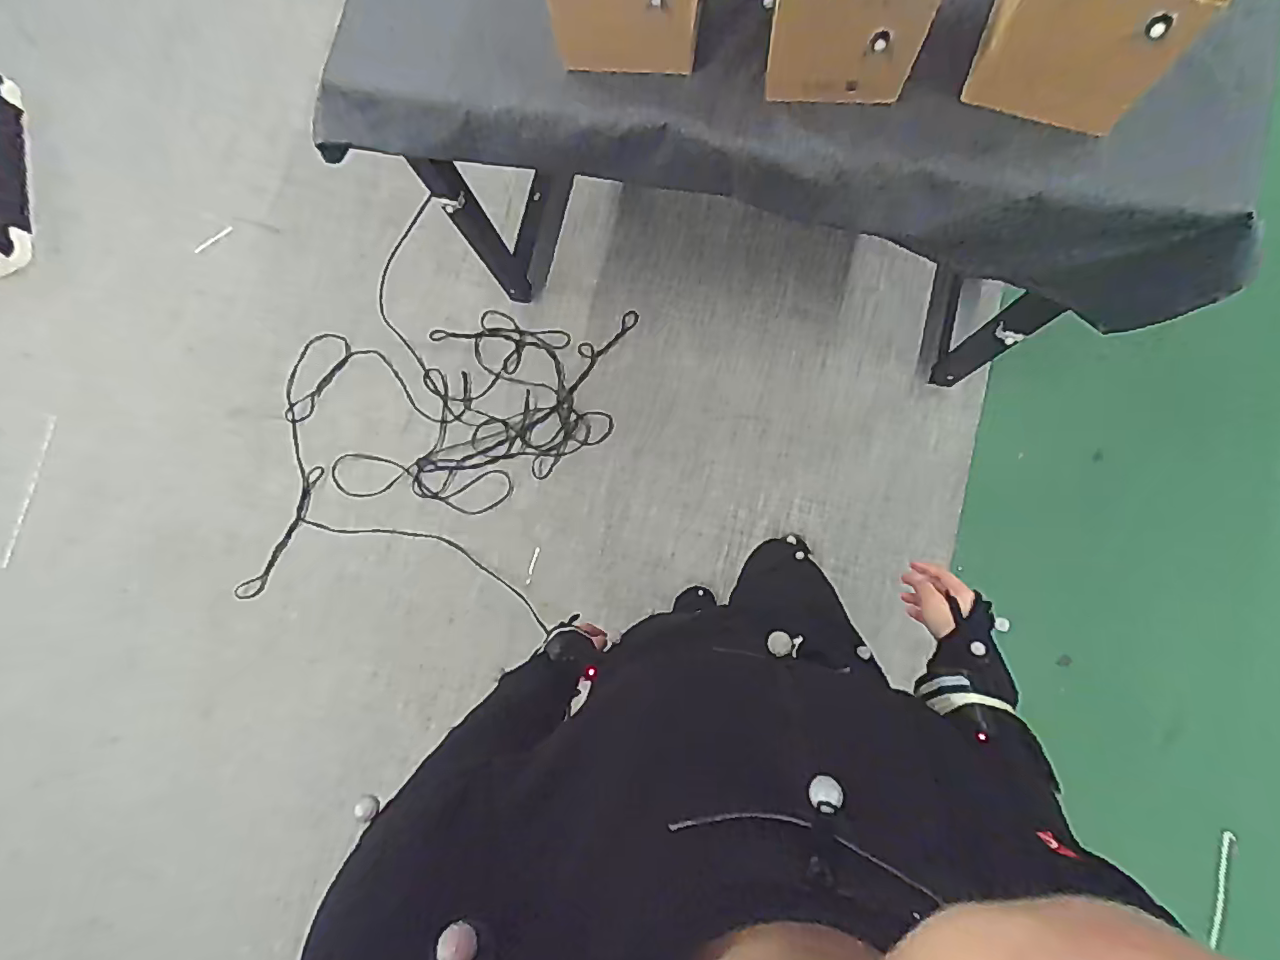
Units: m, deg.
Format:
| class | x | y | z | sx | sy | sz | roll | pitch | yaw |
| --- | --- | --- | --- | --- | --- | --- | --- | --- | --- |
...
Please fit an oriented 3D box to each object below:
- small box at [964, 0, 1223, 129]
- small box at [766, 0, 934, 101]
| class | x | y | z | sx | sy | sz | roll | pitch | yaw |
| --- | --- | --- | --- | --- | --- | --- | --- | --- | --- |
| small box | 0.498 | -0.530 | 0.593 | 0.179 | 0.176 | 0.168 | 21 | 85 | 8 |
| small box | 0.244 | -0.580 | 0.626 | 0.168 | 0.176 | 0.179 | 6 | 82 | 5 |
